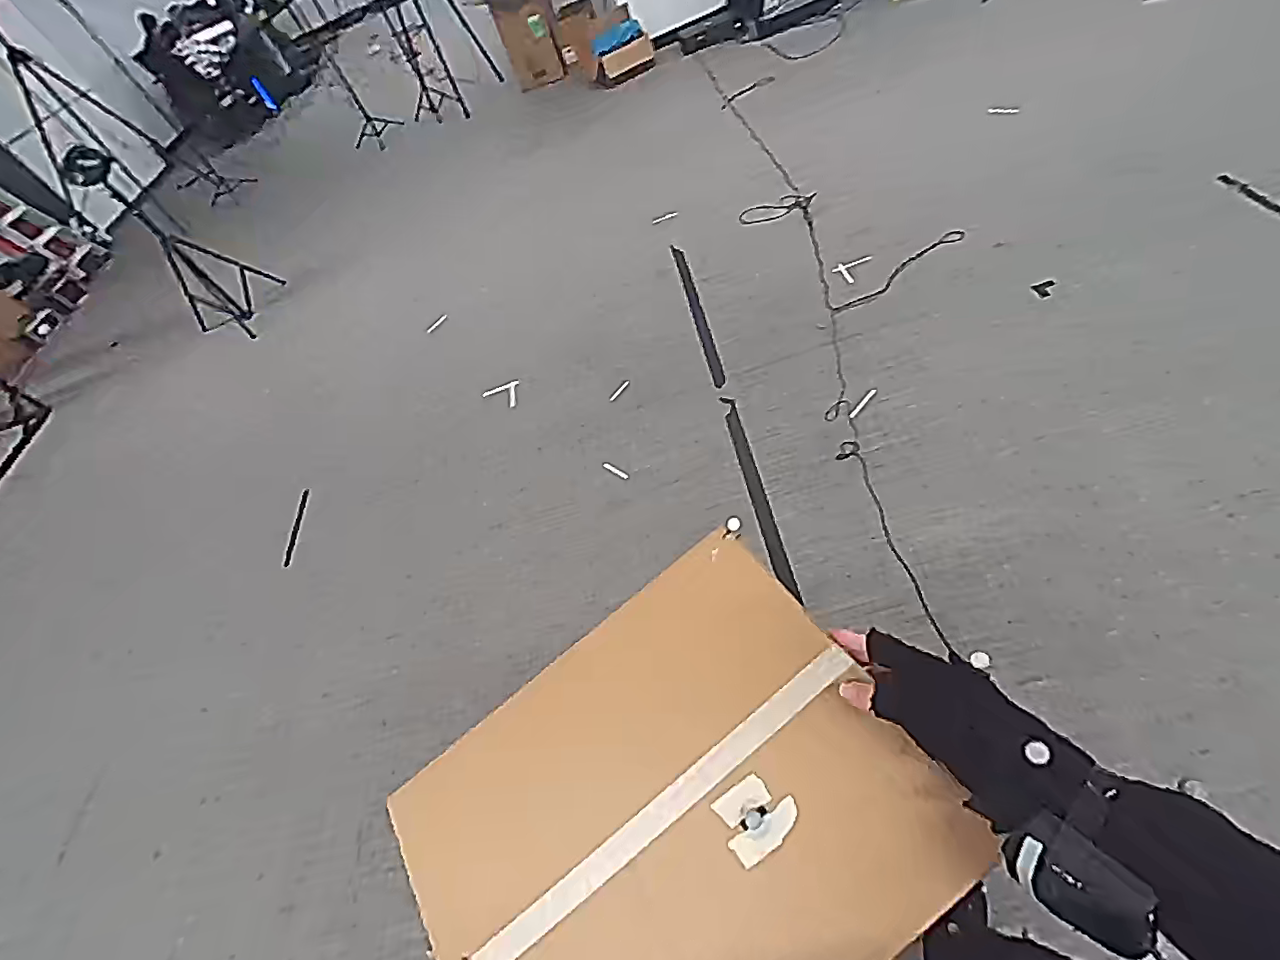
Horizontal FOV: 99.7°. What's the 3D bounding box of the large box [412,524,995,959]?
[{"bbox_3d":[0.059,0.330,0.573,0.408,0.320,0.320,-38,59,-5],"label":"large box"}]
